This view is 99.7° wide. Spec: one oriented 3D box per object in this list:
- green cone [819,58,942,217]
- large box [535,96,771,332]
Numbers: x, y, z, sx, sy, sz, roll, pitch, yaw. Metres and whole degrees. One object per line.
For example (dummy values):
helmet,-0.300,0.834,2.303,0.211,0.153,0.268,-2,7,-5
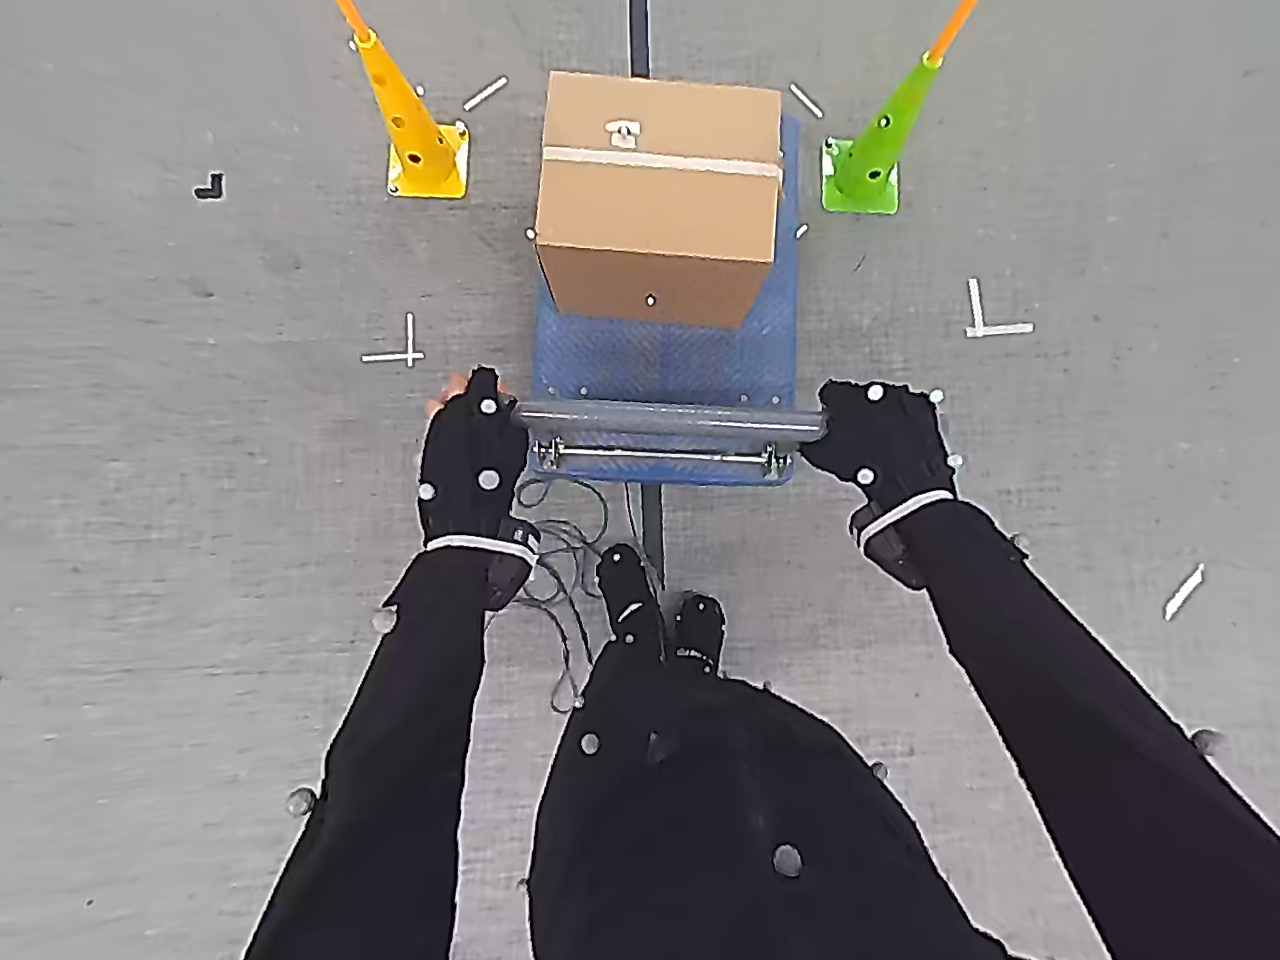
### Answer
green cone,0.581,-0.814,1.270,0.202,0.368,0.200,2,84,-2
large box,0.028,-0.503,1.087,0.408,0.320,0.320,4,85,0
